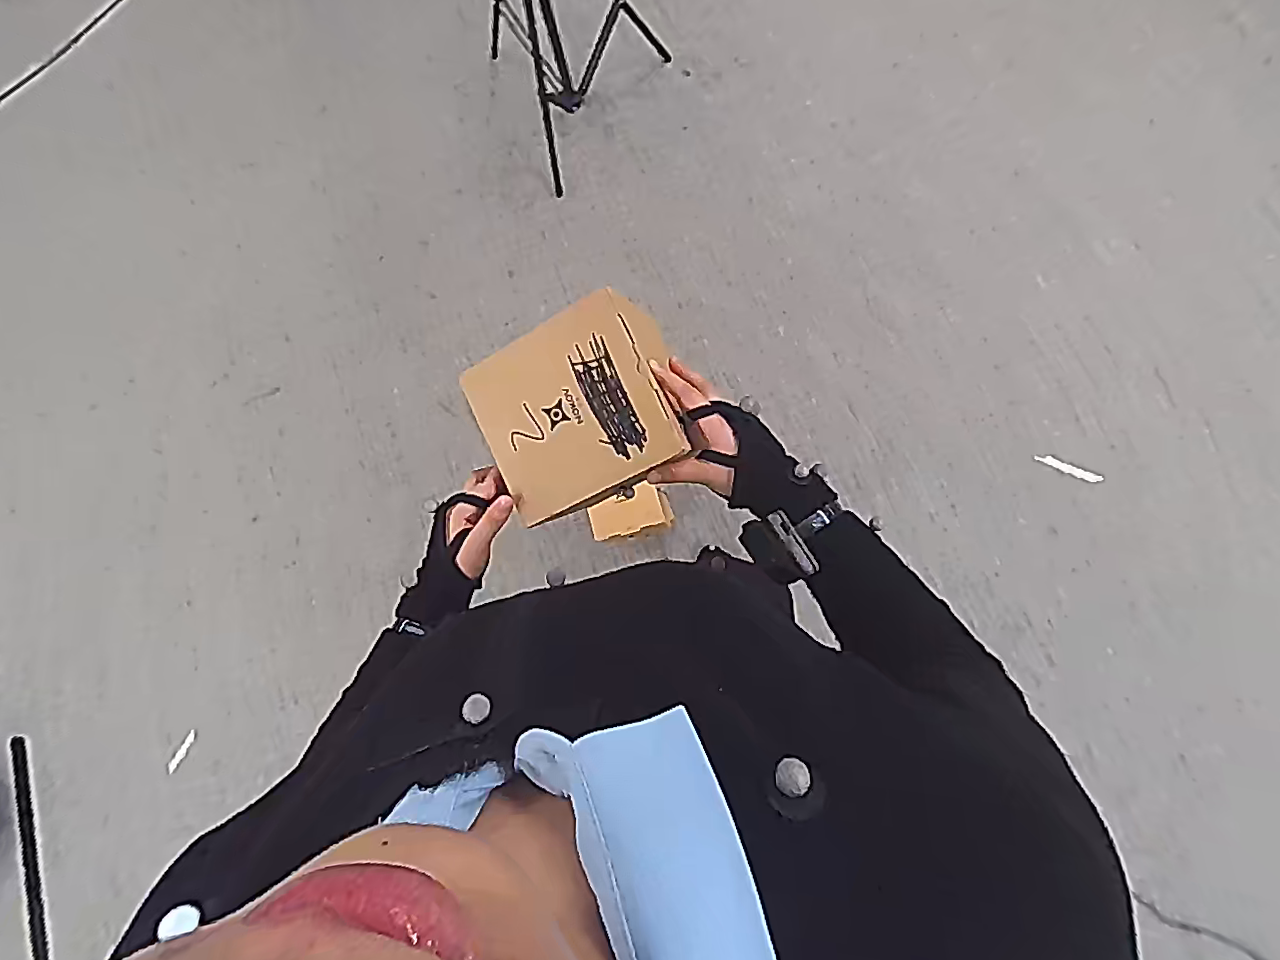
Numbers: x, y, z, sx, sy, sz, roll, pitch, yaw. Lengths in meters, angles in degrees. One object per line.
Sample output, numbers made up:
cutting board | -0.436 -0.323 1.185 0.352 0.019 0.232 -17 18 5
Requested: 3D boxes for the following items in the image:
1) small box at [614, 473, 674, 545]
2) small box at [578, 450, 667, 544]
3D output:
small box | -0.015 0.068 1.454 0.168 0.176 0.179 -23 78 2
small box | -0.037 0.047 1.294 0.168 0.176 0.179 -17 80 4
